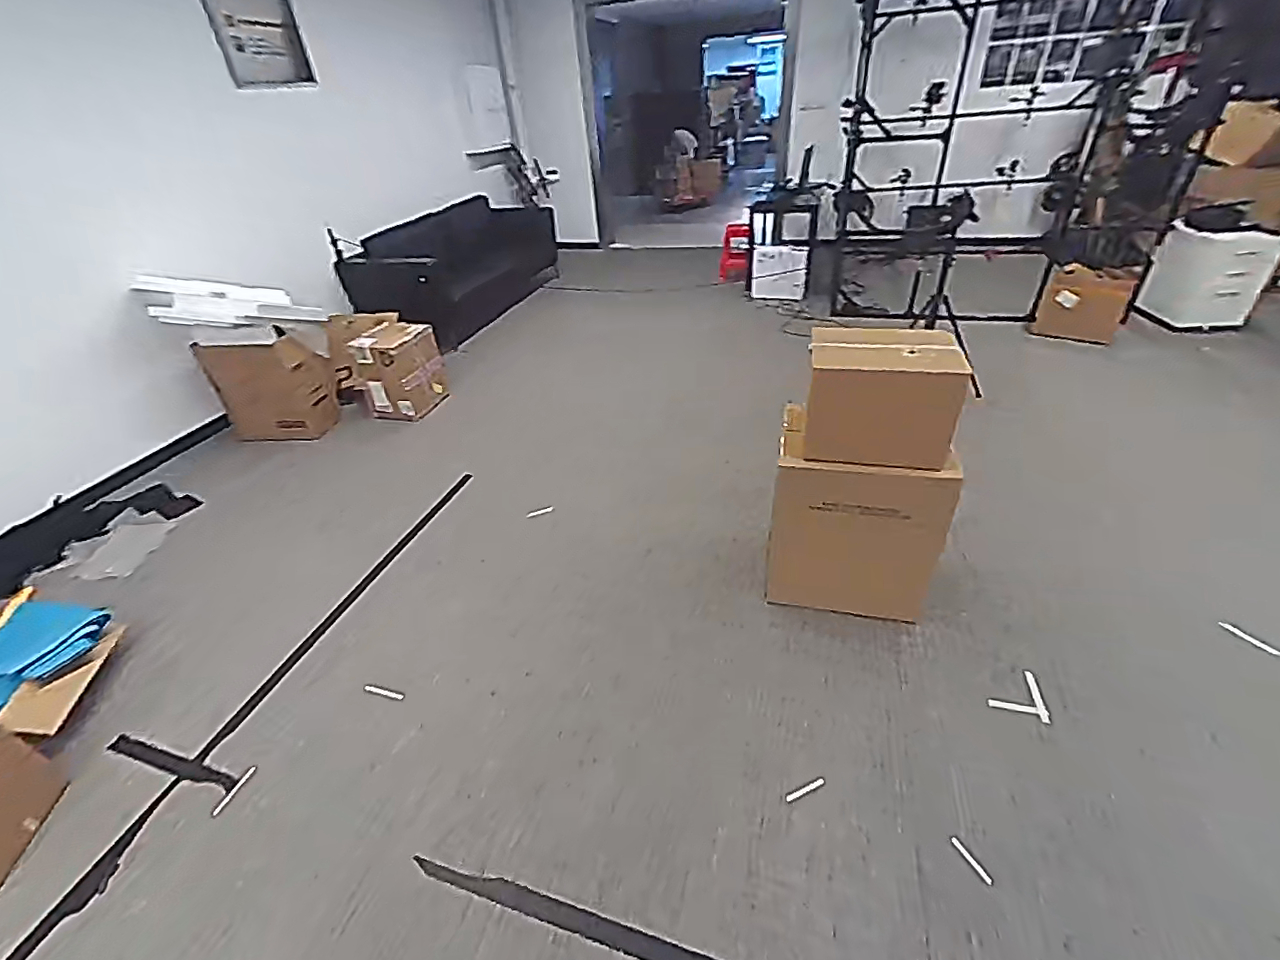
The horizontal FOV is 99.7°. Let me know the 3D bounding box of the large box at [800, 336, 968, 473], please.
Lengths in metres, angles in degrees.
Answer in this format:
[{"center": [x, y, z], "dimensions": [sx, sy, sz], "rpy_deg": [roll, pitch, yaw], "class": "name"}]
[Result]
[{"center": [0.718, -0.241, 1.672], "dimensions": [0.408, 0.320, 0.320], "rpy_deg": [6, 37, 14], "class": "large box"}]
